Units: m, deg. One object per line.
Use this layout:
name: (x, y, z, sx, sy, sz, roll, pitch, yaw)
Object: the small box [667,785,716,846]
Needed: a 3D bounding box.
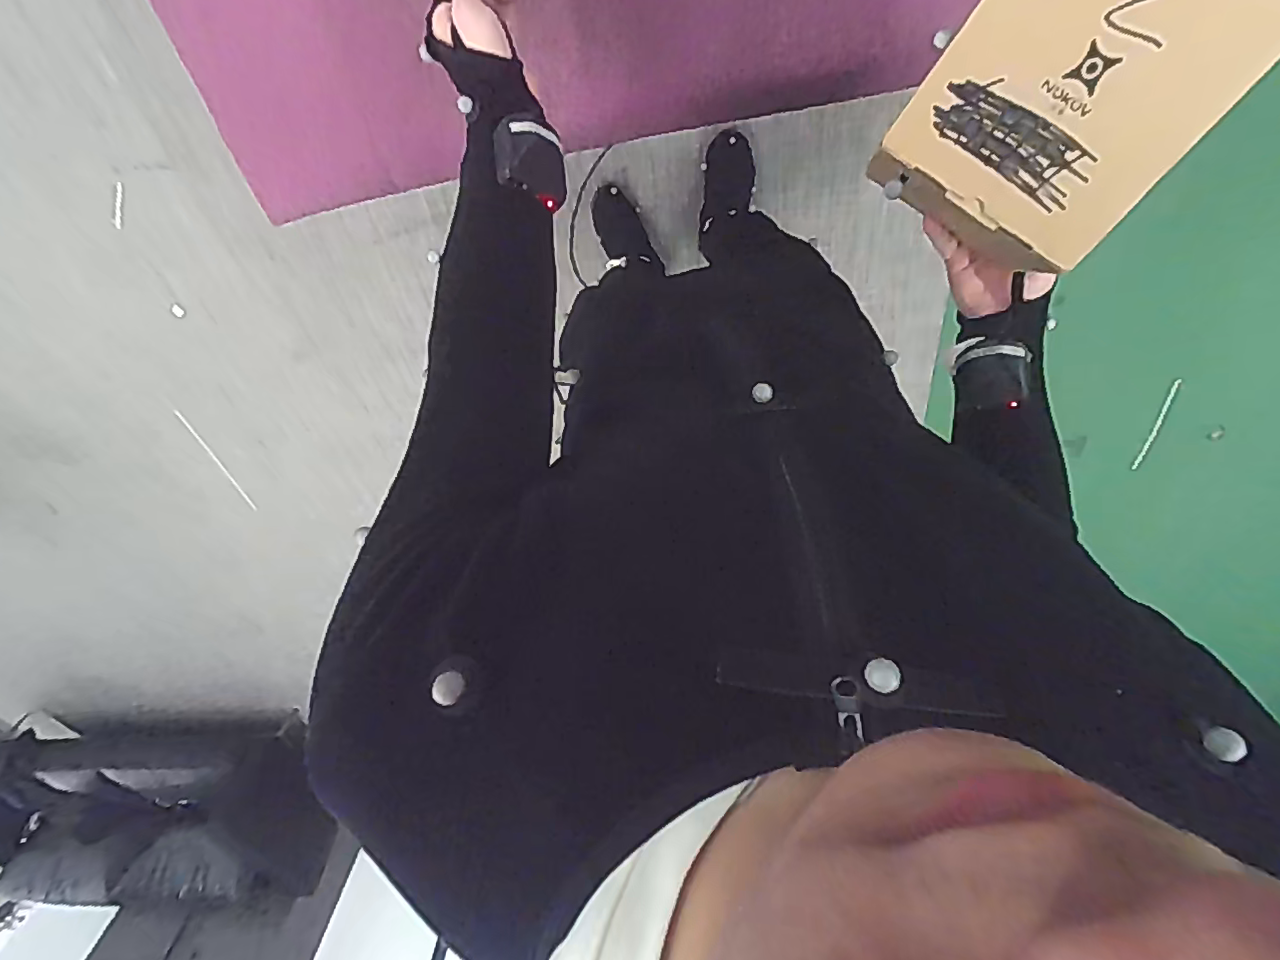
small box: (0.195, 1.259, 1.997, 0.168, 0.176, 0.179, -3, 125, 9)
